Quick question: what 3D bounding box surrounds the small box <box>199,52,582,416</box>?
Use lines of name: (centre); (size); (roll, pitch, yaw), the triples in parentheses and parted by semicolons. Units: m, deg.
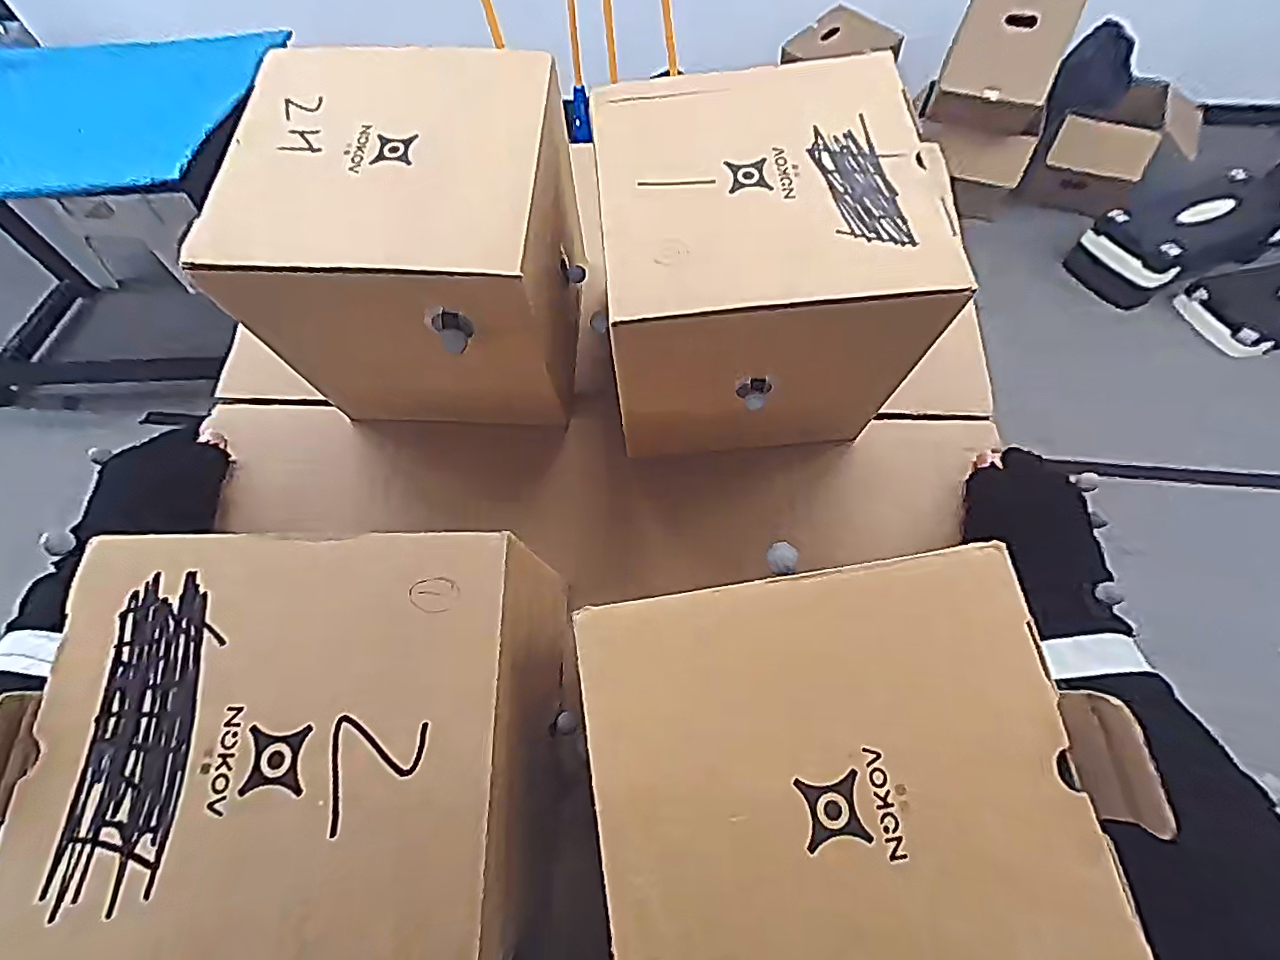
small box: (-0.140, -0.156, 0.383); (0.179, 0.176, 0.168); (3, 69, 2)
